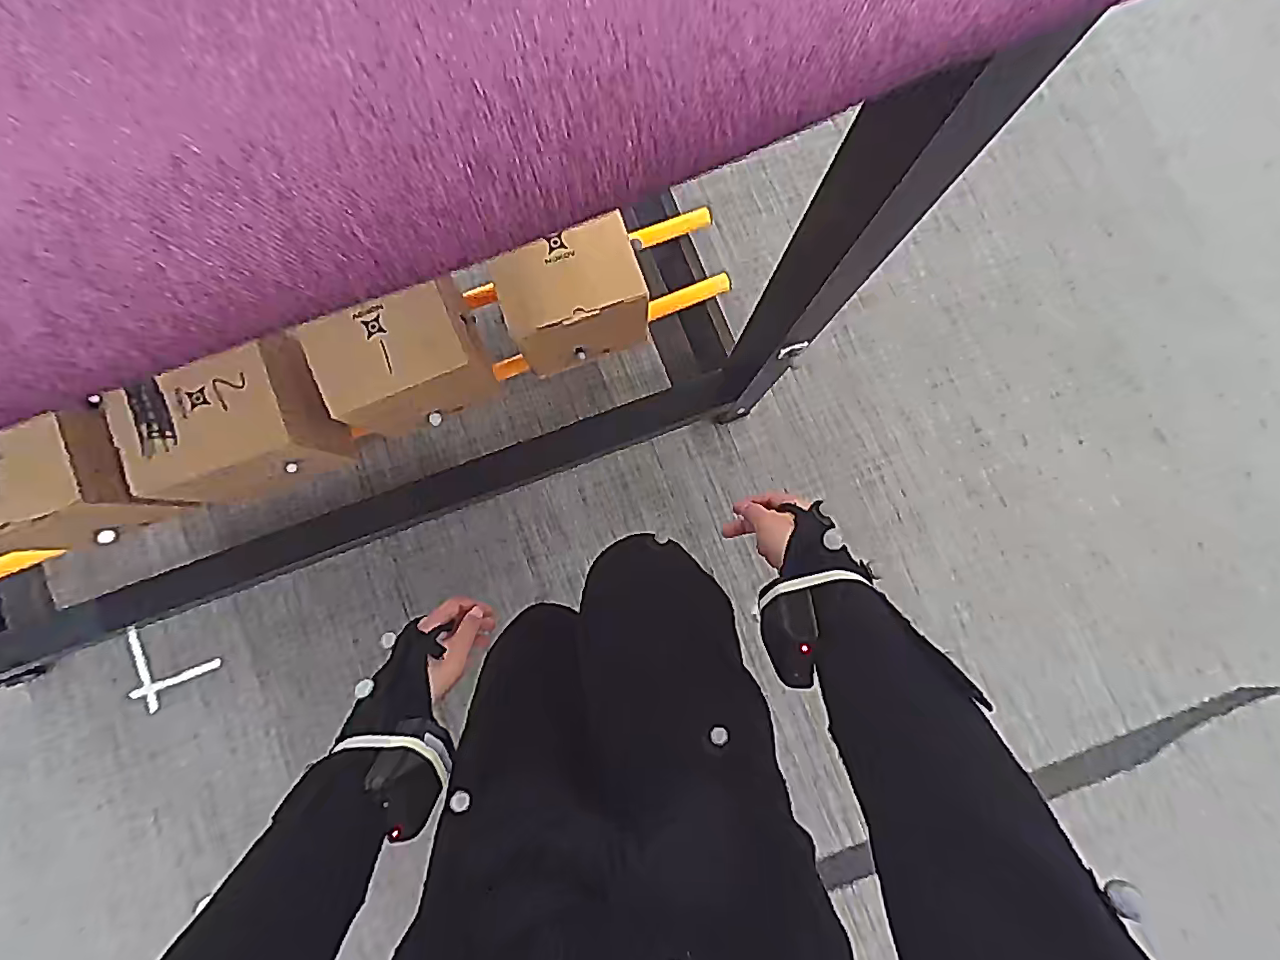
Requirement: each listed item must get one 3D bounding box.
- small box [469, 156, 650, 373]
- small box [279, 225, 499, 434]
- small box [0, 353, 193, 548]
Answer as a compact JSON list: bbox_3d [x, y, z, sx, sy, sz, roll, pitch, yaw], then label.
[{"bbox_3d":[-0.094,-0.259,0.689,0.168,0.176,0.179,-19,86,-3],"label":"small box"},{"bbox_3d":[-0.297,-0.174,0.677,0.168,0.176,0.179,-22,88,-3],"label":"small box"},{"bbox_3d":[-0.696,-0.023,0.646,0.168,0.176,0.179,-20,86,-4],"label":"small box"}]
